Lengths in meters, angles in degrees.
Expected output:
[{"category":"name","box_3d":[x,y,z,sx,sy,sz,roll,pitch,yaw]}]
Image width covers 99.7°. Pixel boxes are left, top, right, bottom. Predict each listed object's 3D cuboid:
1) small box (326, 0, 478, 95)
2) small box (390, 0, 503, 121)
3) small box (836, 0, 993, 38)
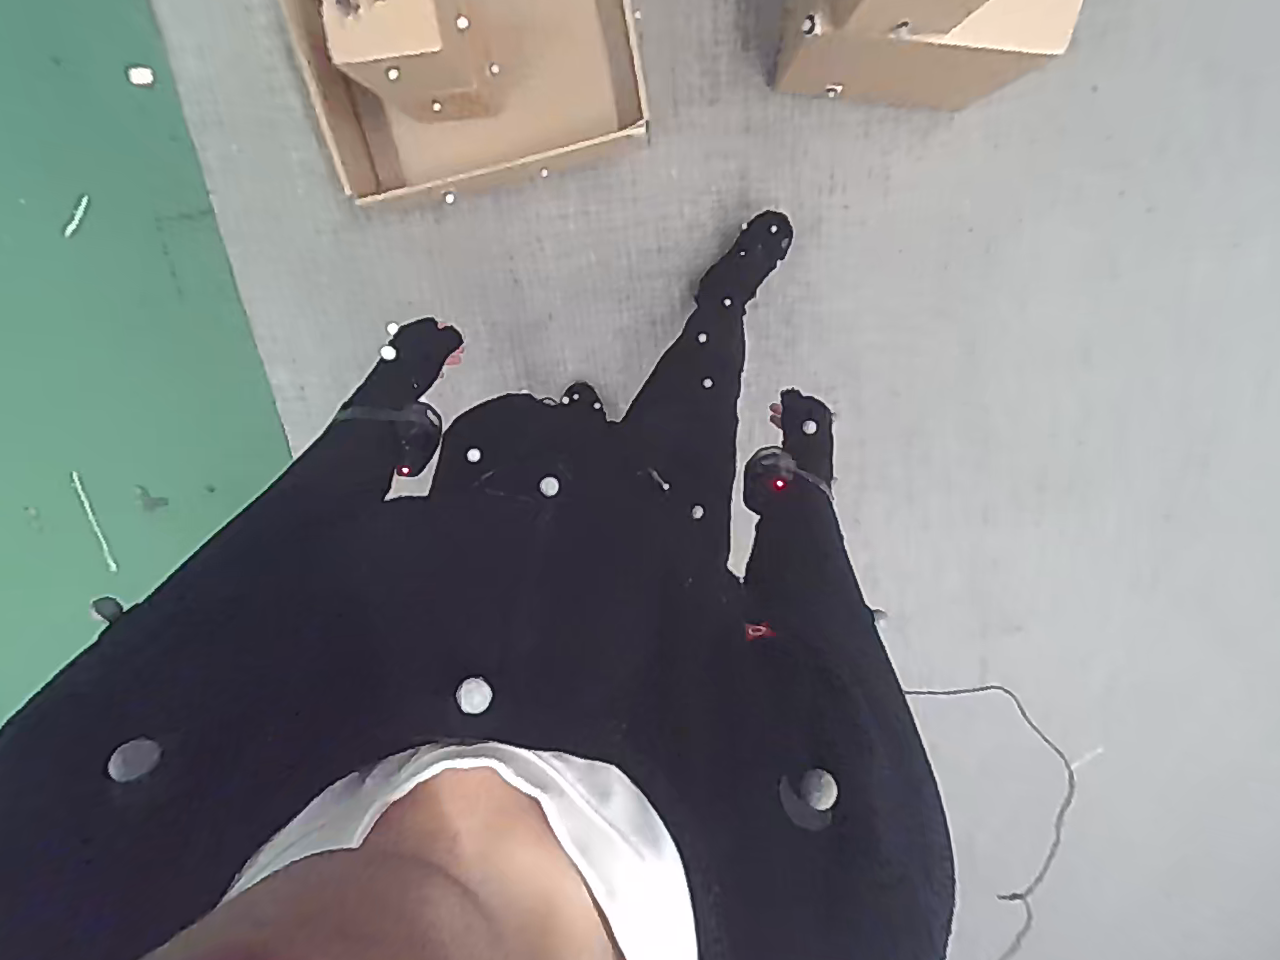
[{"category":"small box","box_3d":[-0.389,-0.761,0.890,0.179,0.176,0.168,-5,110,2]},{"category":"small box","box_3d":[-0.382,-0.816,1.045,0.179,0.176,0.168,-5,110,2]},{"category":"small box","box_3d":[0.392,-0.743,0.747,0.179,0.176,0.168,1,112,2]}]
